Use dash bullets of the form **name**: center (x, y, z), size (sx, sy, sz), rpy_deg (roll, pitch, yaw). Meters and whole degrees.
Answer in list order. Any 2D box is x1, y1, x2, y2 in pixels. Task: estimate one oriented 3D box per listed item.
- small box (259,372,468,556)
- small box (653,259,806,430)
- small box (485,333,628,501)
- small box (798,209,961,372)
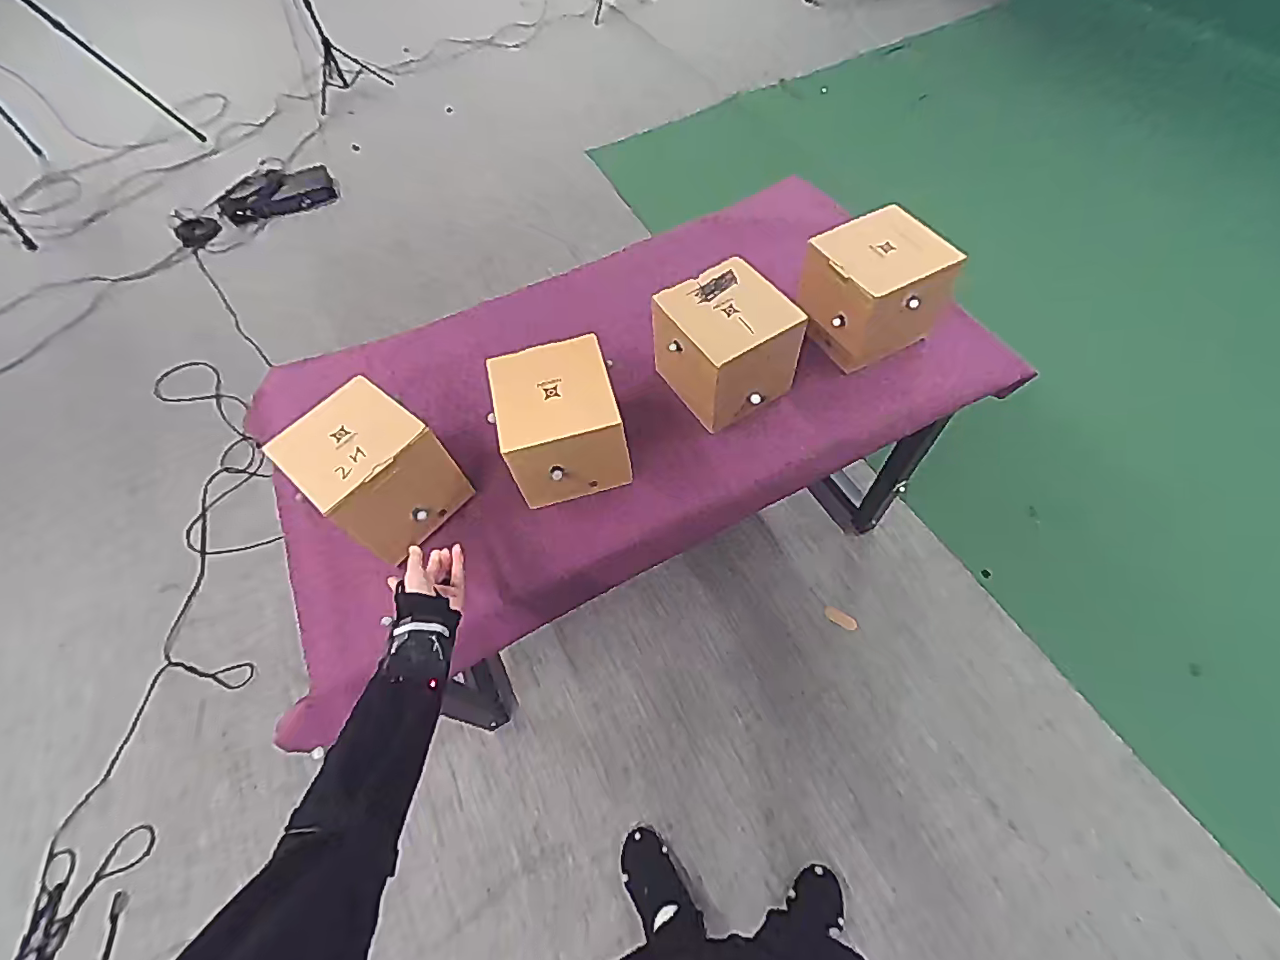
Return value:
- **small box**: center (-0.388, -0.017, 0.785), size (0.179, 0.176, 0.168), rpy_deg (33, 68, 24)
- **small box**: center (0.134, -0.214, 0.873), size (0.168, 0.176, 0.179), rpy_deg (-29, 62, -12)
- **small box**: center (-0.120, -0.085, 0.816), size (0.168, 0.176, 0.179), rpy_deg (-15, 58, -4)
- **small box**: center (0.384, -0.313, 0.911), size (0.179, 0.176, 0.168), rpy_deg (-24, 60, -10)
